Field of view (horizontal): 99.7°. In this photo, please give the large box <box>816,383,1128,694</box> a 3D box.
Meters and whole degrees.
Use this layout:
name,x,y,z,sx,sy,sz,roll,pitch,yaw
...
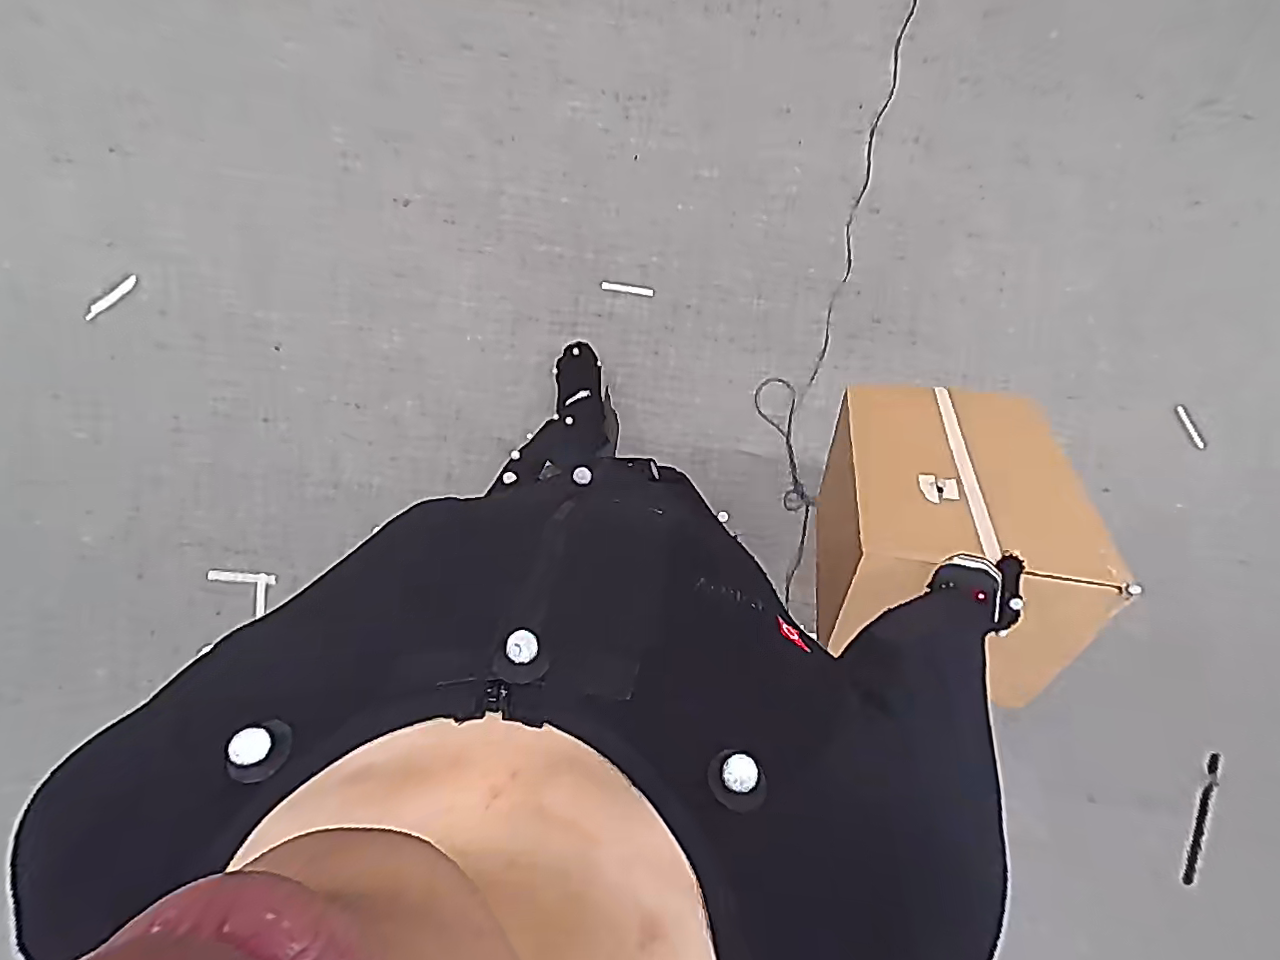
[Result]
name,x,y,z,sx,sy,sz,roll,pitch,yaw
large box,0.492,0.085,0.924,0.320,0.408,0.320,7,135,11
